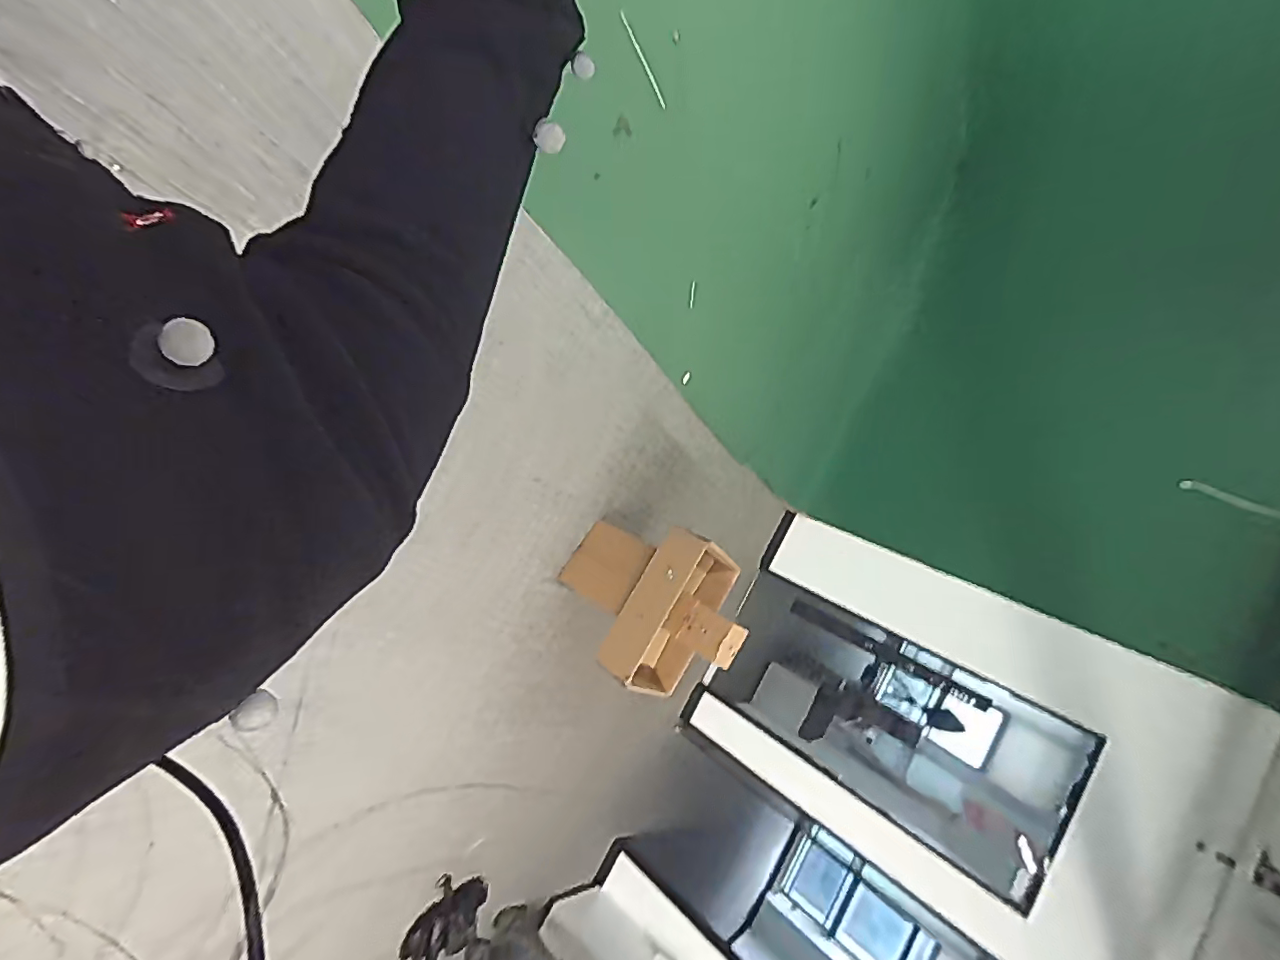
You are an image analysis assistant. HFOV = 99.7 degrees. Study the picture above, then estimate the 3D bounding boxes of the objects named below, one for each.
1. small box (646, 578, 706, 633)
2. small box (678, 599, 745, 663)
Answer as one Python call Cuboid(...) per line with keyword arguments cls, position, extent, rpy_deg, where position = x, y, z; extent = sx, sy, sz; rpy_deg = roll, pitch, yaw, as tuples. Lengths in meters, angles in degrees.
Cuboid(cls="small box", position=(0.153, 0.515, 2.178), extent=(0.168, 0.176, 0.179), rpy_deg=(-58, 146, -6))
Cuboid(cls="small box", position=(0.275, 0.580, 2.089), extent=(0.168, 0.176, 0.179), rpy_deg=(-58, 143, -6))
